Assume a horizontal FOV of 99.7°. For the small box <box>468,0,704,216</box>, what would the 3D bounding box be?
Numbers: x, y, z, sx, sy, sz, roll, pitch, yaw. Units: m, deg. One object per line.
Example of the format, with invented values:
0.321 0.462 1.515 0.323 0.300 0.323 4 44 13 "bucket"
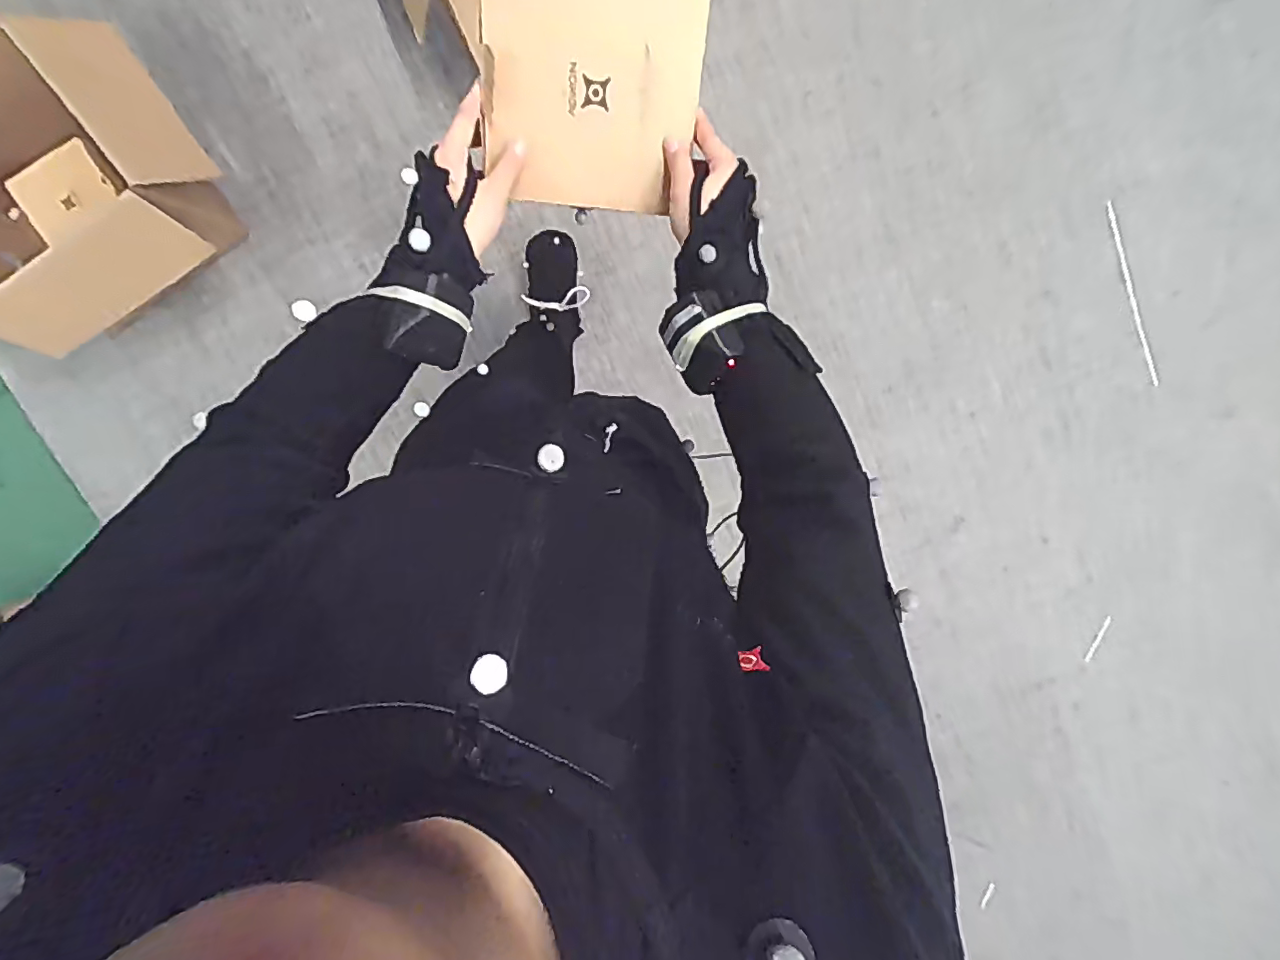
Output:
-0.051 -0.342 0.496 0.179 0.176 0.168 2 118 -7 "small box"
